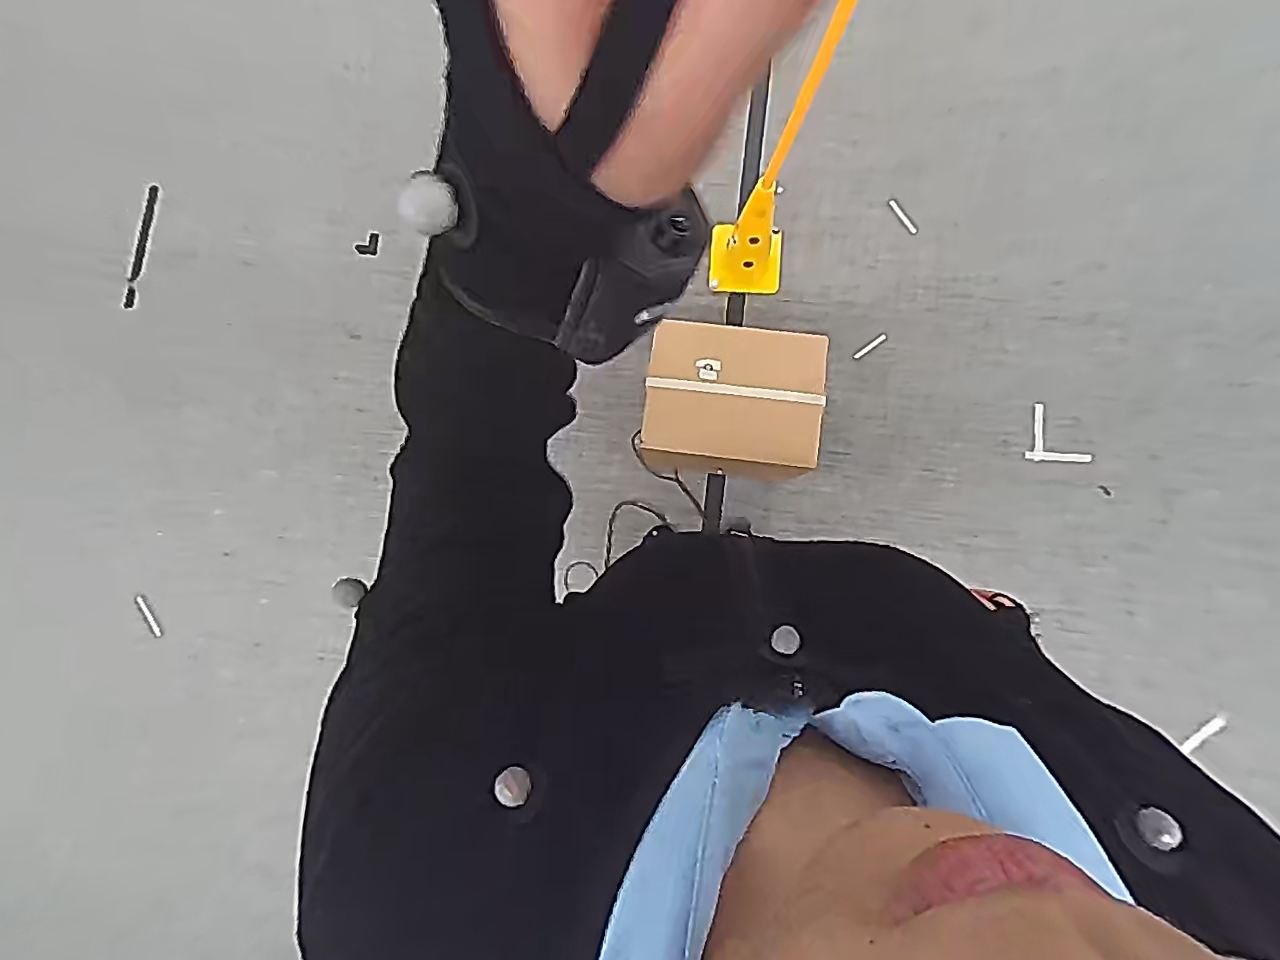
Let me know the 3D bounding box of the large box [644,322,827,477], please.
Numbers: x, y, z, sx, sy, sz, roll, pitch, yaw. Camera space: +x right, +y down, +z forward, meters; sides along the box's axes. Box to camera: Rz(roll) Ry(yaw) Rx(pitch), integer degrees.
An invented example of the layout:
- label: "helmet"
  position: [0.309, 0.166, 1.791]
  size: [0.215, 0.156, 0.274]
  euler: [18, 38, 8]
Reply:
- label: "large box"
  position: [0.234, -0.190, 1.395]
  size: [0.408, 0.320, 0.320]
  euler: [7, 83, 5]
